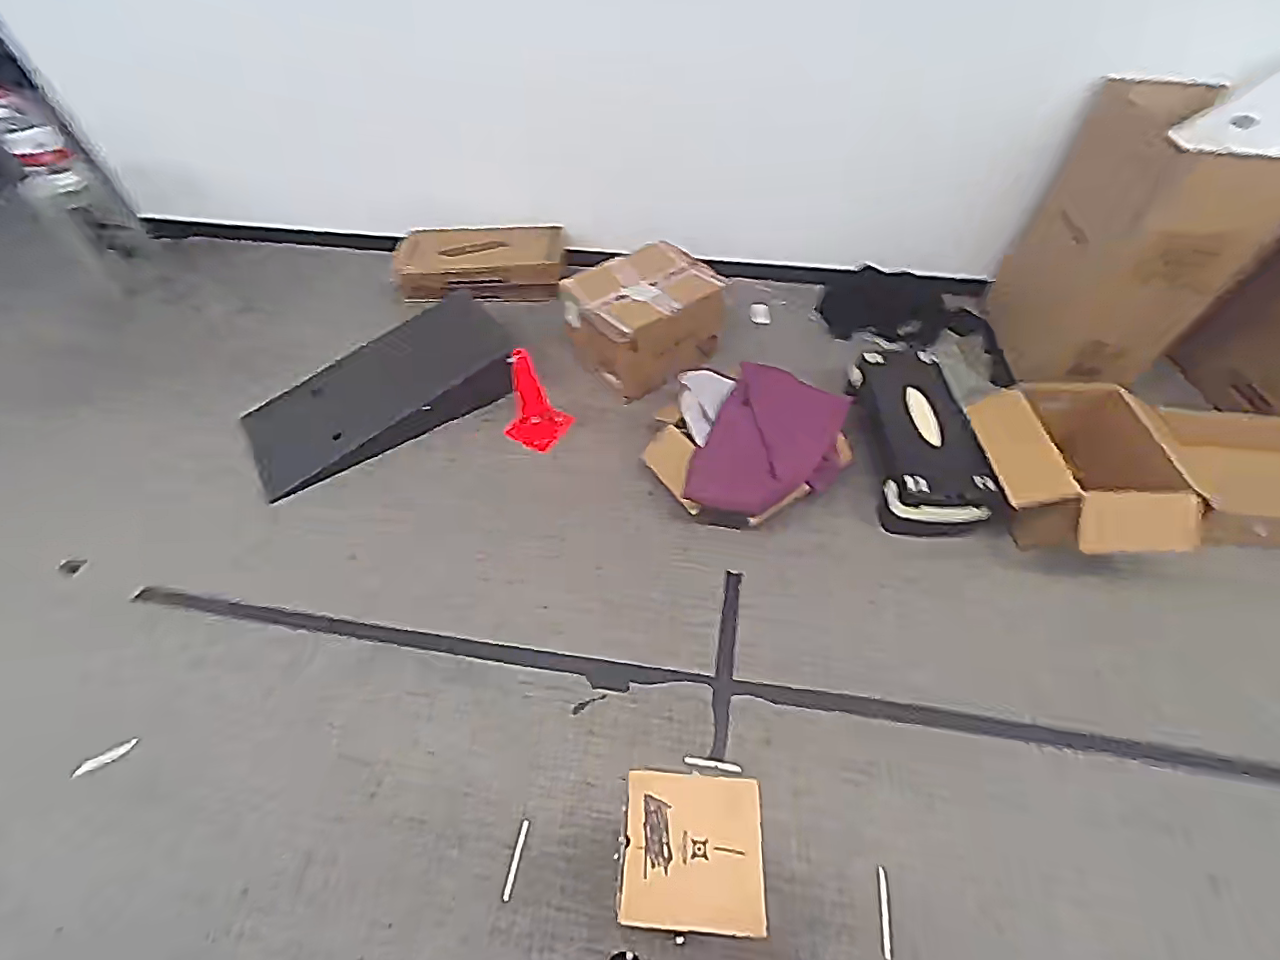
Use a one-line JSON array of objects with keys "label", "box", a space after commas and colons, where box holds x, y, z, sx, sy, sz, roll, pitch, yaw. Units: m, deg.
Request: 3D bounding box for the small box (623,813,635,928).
[{"label": "small box", "box": [0.057, 0.766, 1.057, 0.168, 0.176, 0.179, 2, 54, 4]}]

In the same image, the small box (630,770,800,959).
[{"label": "small box", "box": [0.084, 0.468, 0.662, 0.179, 0.176, 0.168, 3, 53, 3]}]
